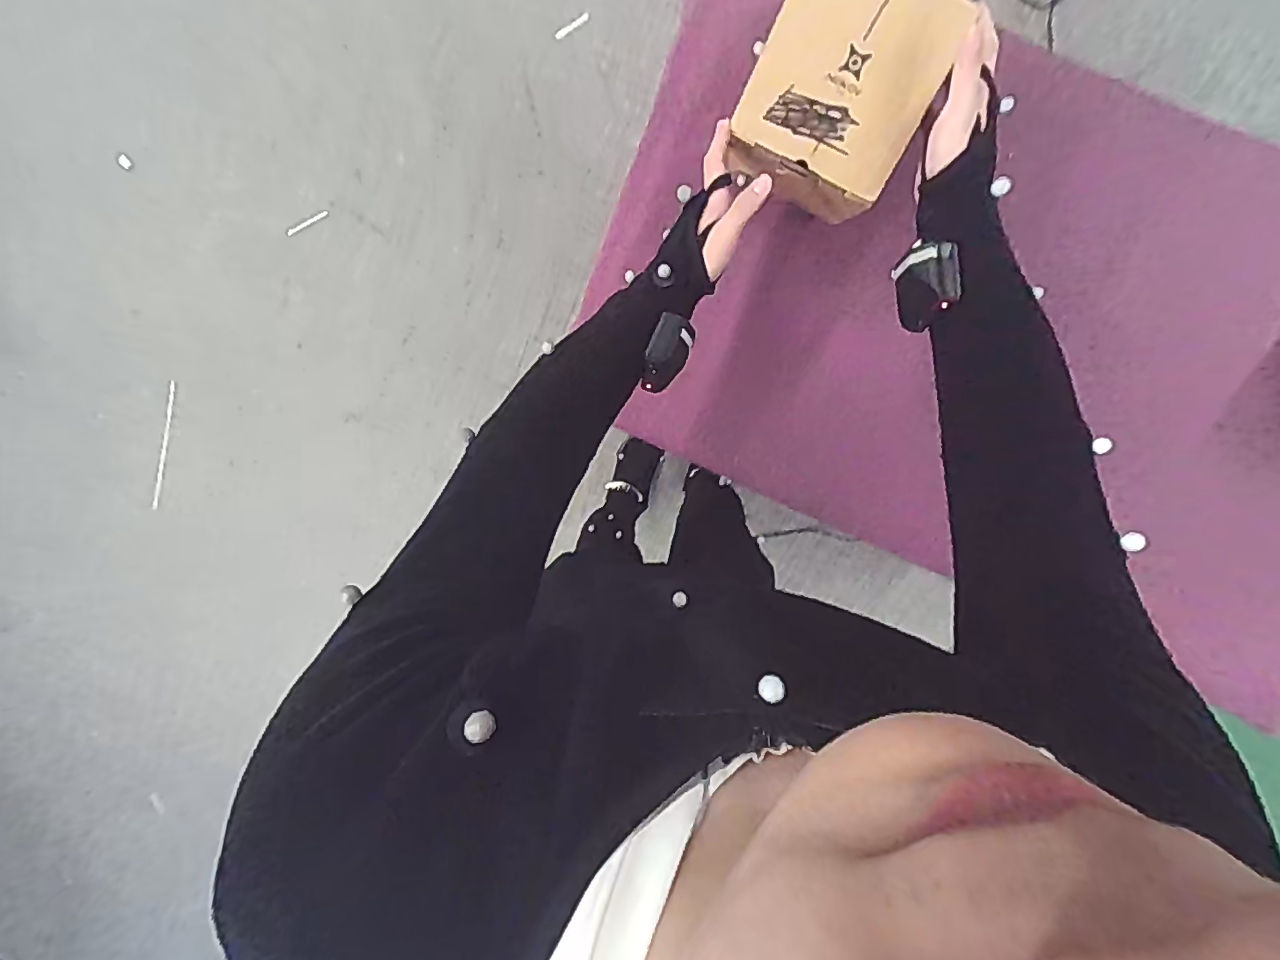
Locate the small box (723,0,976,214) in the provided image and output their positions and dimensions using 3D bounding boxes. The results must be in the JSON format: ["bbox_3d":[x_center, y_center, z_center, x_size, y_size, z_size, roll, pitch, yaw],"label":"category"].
[{"bbox_3d":[0.202,-0.412,0.581,0.168,0.176,0.179,26,110,-3],"label":"small box"}]
